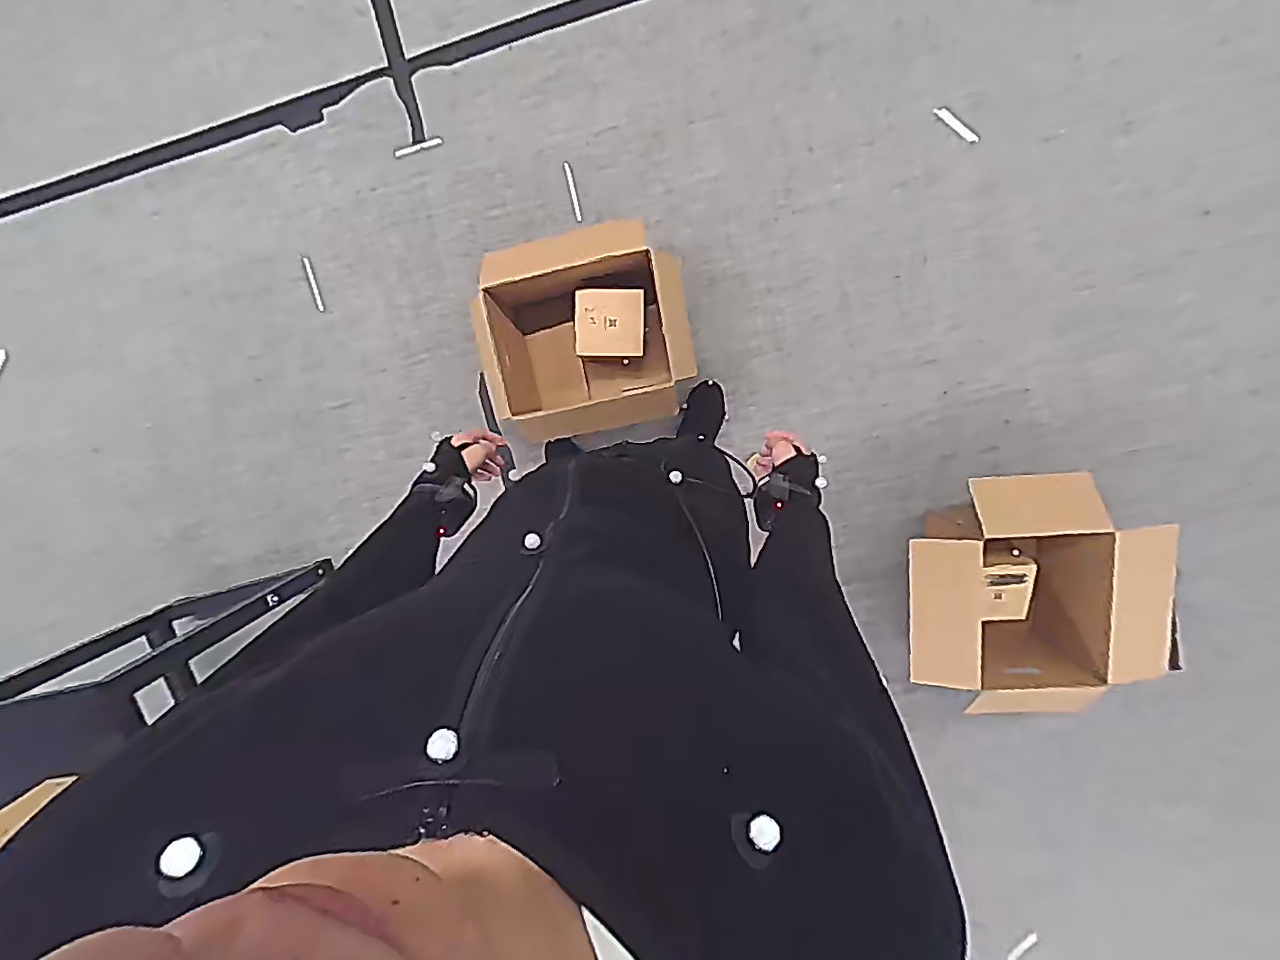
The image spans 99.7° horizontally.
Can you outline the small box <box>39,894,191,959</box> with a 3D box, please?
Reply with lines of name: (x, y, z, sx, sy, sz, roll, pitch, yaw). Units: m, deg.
small box: (-1.032, 0.953, 1.052, 0.168, 0.176, 0.179, 0, 102, 5)
